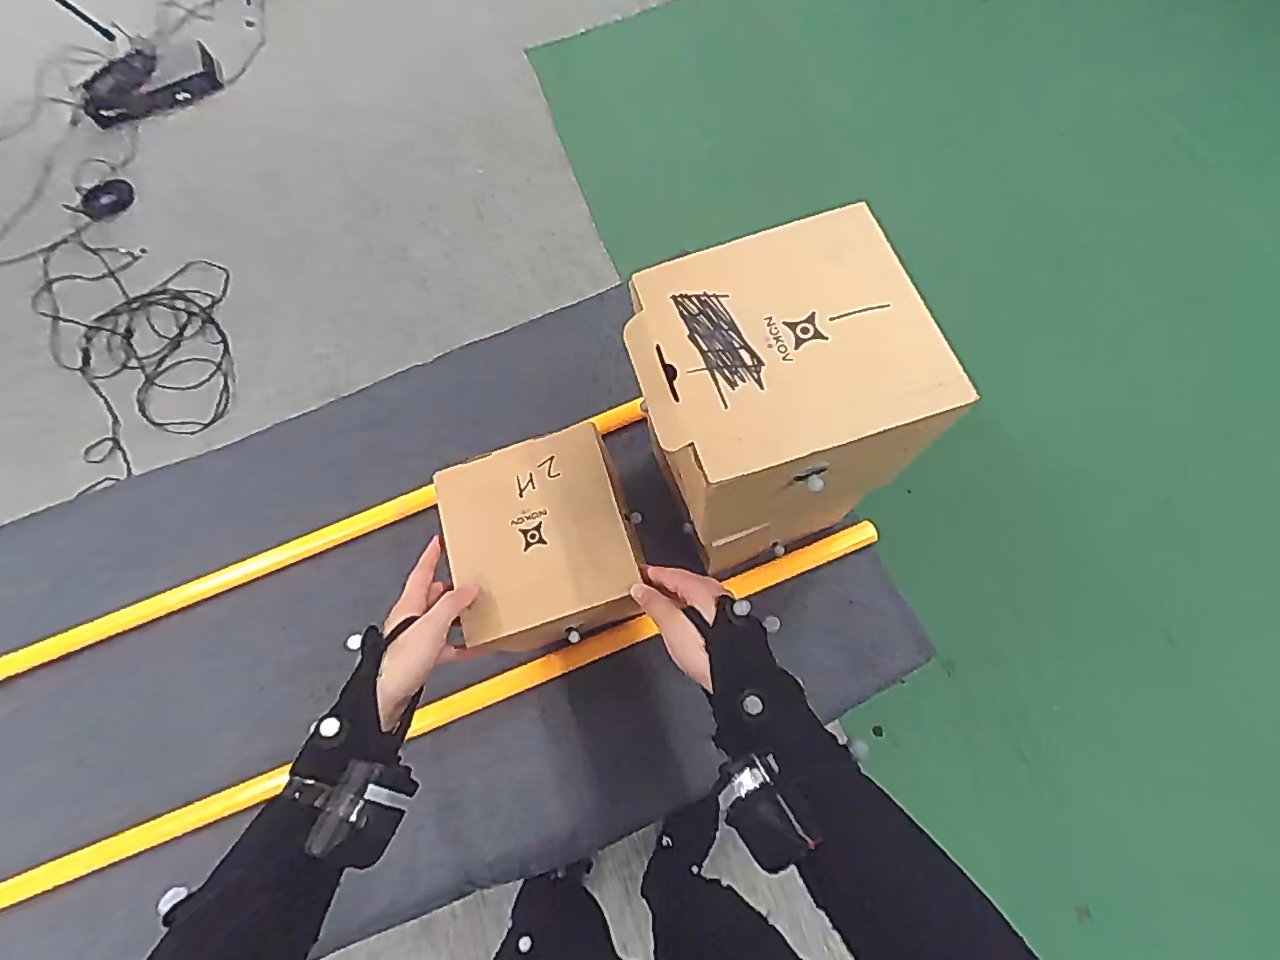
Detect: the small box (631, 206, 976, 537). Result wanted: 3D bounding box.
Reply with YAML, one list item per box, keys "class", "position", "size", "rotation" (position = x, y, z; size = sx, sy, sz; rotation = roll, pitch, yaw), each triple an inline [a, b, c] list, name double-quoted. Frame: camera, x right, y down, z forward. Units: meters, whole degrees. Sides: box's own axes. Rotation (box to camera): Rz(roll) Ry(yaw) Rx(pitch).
- class: "small box"
  position: [0.106, -0.067, 0.424]
  size: [0.179, 0.176, 0.168]
  rotation: [-18, 71, -1]
